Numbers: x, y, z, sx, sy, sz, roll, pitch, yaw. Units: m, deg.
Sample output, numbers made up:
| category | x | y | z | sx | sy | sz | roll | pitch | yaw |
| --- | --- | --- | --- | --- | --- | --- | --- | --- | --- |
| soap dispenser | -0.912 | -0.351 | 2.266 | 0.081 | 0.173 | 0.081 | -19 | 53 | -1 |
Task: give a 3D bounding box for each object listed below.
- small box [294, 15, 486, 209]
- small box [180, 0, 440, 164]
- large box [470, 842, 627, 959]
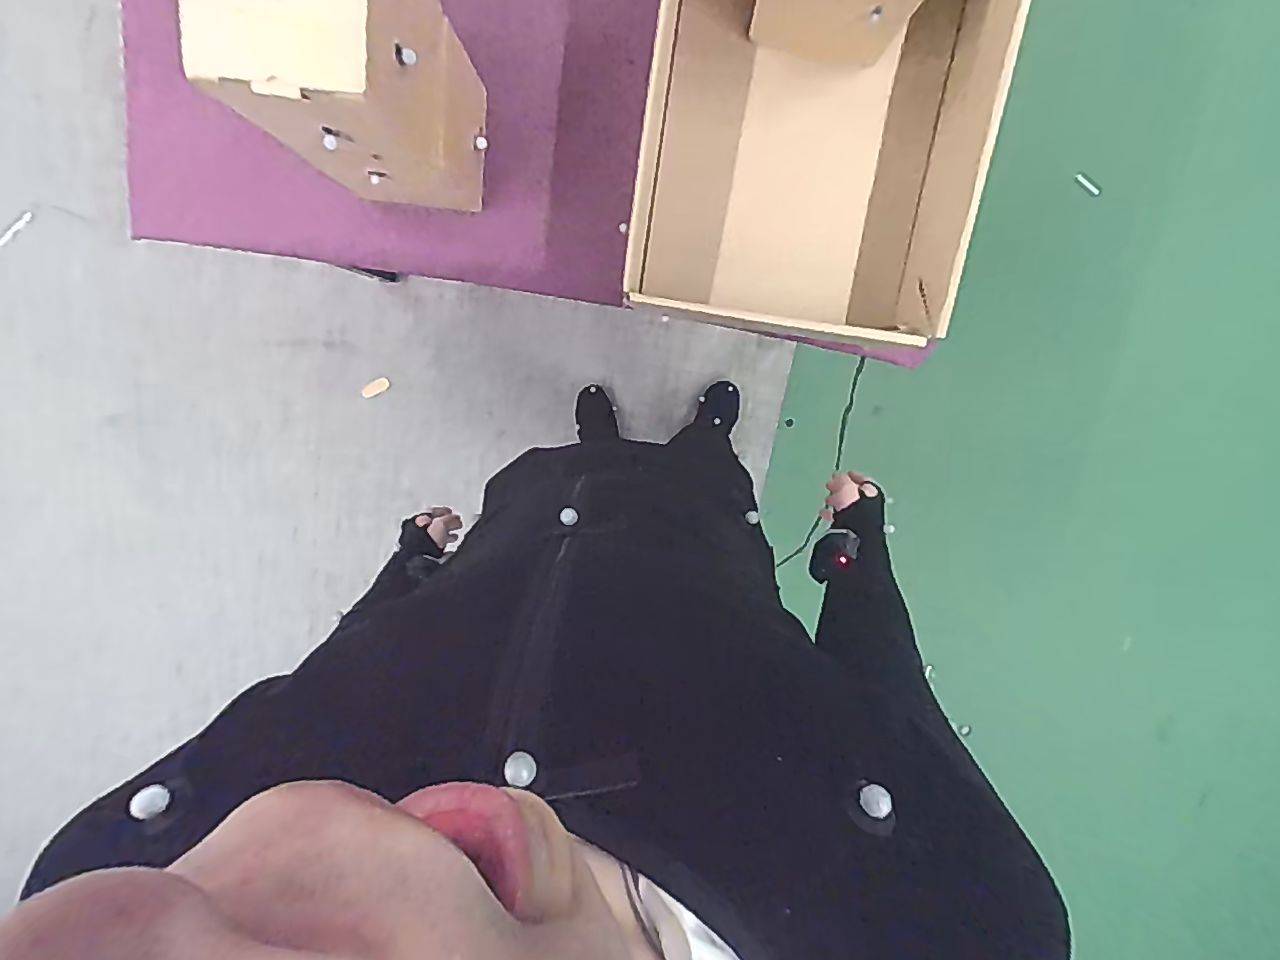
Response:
| category | x | y | z | sx | sy | sz | roll | pitch | yaw |
| --- | --- | --- | --- | --- | --- | --- | --- | --- | --- |
| small box | -0.315 | -0.472 | 0.707 | 0.179 | 0.176 | 0.168 | 6 | 100 | -1 |
| small box | -0.314 | -0.447 | 0.546 | 0.168 | 0.176 | 0.179 | 7 | 101 | -2 |
| large box | -0.282 | 1.496 | 1.778 | 0.408 | 0.320 | 0.320 | -22 | 101 | 3 |
